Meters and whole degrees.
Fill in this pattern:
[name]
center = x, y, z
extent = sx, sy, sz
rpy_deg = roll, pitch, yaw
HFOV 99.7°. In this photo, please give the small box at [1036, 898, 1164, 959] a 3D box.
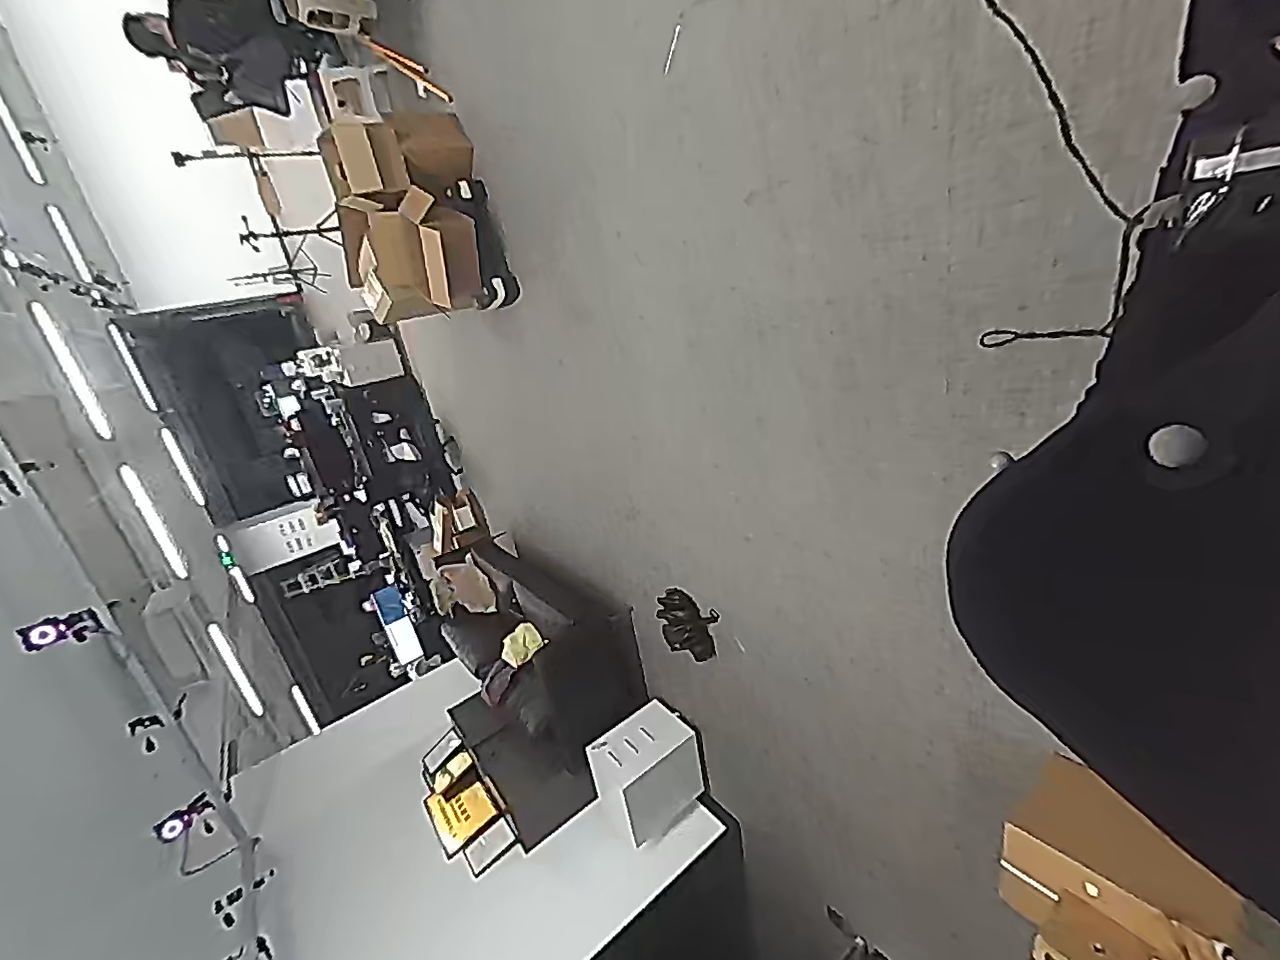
[small box]
center = 1.044, 1.113, 1.238
extent = 0.179, 0.176, 0.168
rpy_deg = 24, 126, 48
